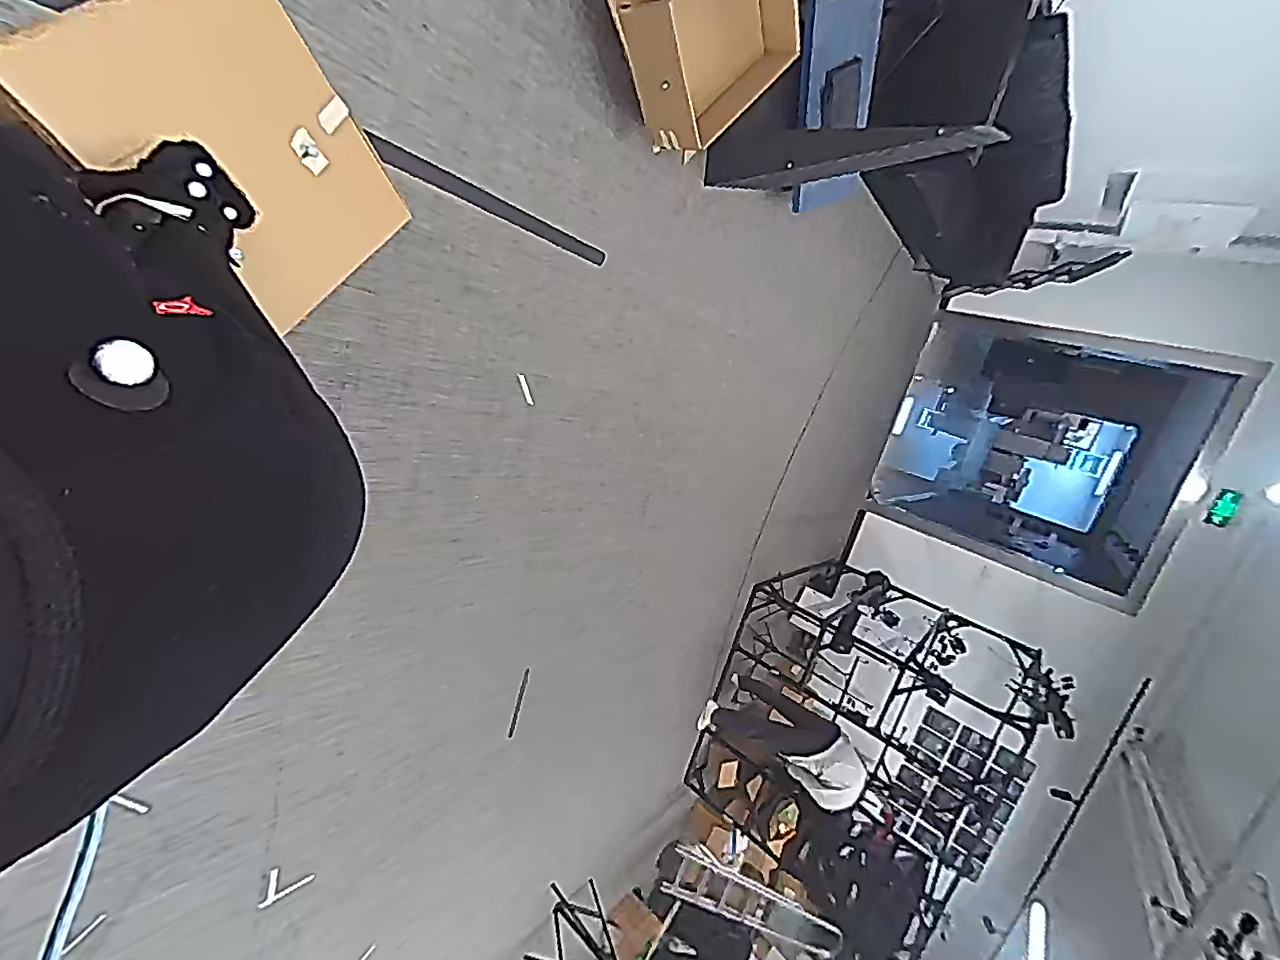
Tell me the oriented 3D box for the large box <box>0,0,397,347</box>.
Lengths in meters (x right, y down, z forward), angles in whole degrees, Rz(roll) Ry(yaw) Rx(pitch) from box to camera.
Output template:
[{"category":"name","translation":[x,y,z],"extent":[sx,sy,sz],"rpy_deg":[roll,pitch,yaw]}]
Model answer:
[{"category":"large box","translation":[-0.631,-0.400,0.727],"extent":[0.320,0.408,0.320],"rpy_deg":[-62,147,-31]}]
